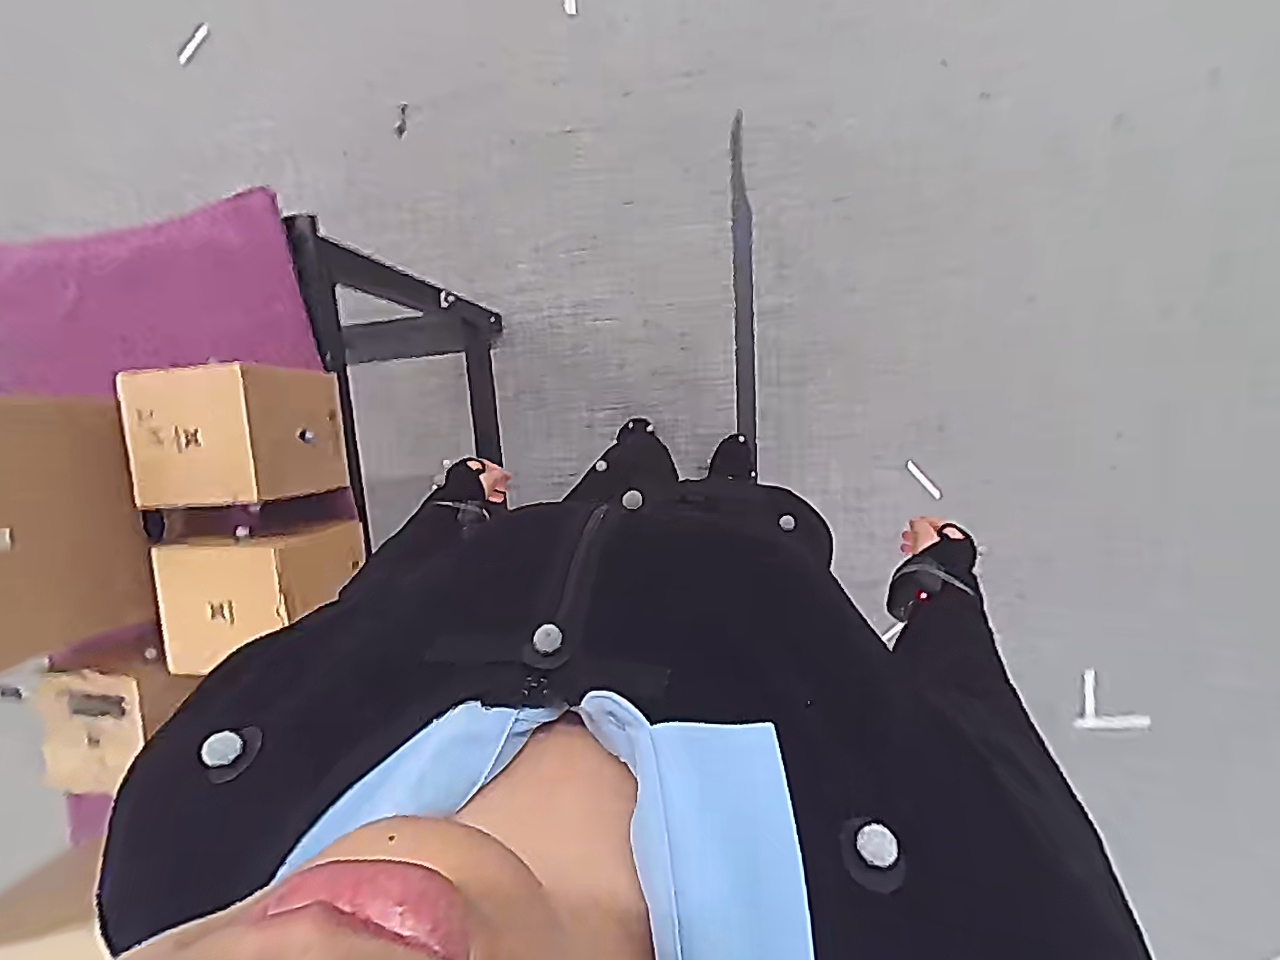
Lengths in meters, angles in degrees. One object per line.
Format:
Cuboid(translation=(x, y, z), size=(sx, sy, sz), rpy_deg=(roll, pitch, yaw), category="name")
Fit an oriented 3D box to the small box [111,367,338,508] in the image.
Cuboid(translation=(-0.534, -0.058, 0.723), size=(0.179, 0.176, 0.168), rpy_deg=(-2, 96, 8), category="small box")
